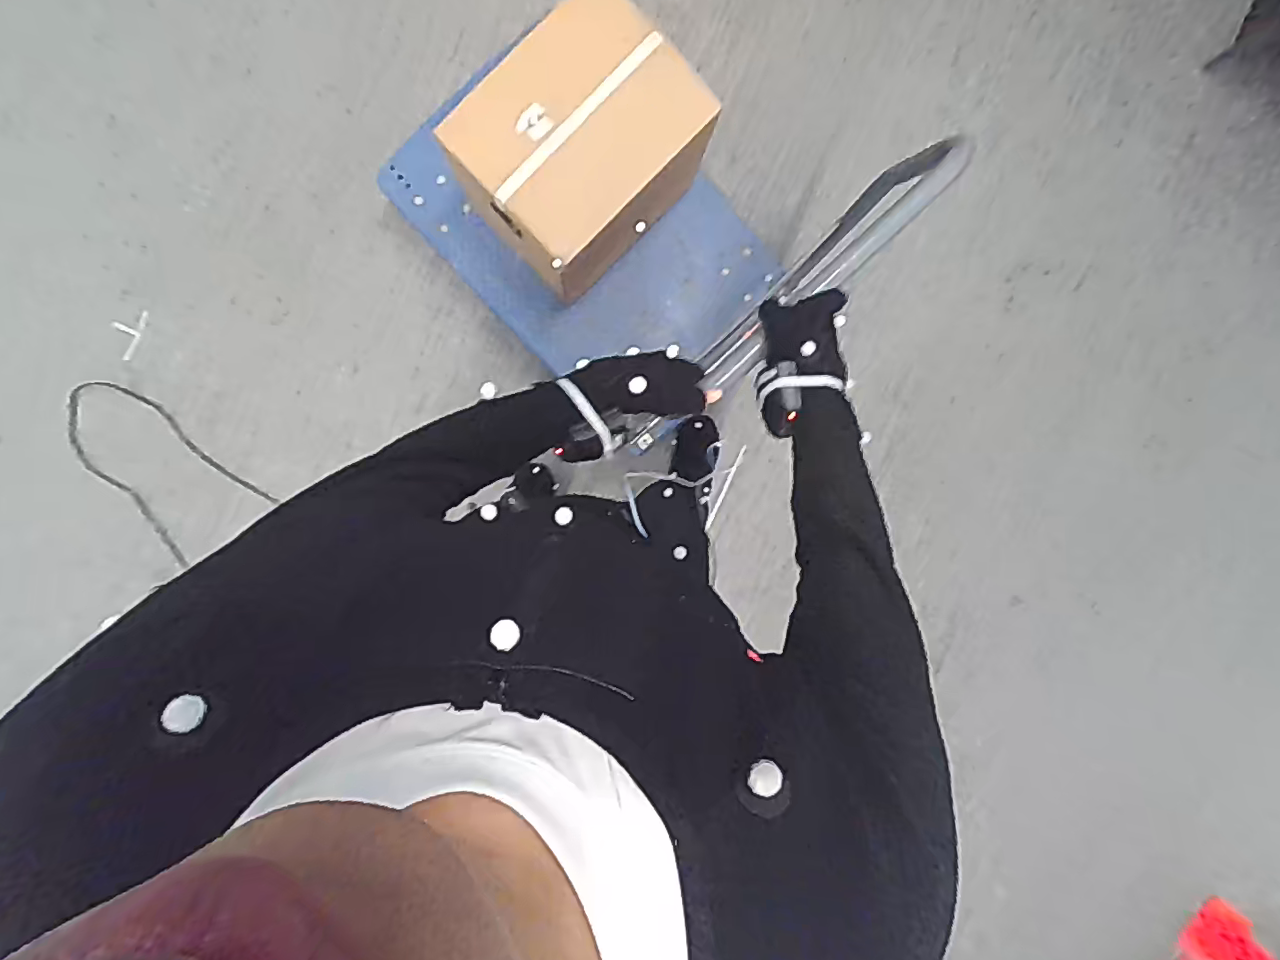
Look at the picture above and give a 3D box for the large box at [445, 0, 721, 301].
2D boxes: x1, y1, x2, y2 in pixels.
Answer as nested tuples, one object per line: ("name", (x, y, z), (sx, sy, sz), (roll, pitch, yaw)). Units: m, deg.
("large box", (-0.106, -0.641, 1.091), (0.320, 0.320, 0.408), (44, 91, -7))
